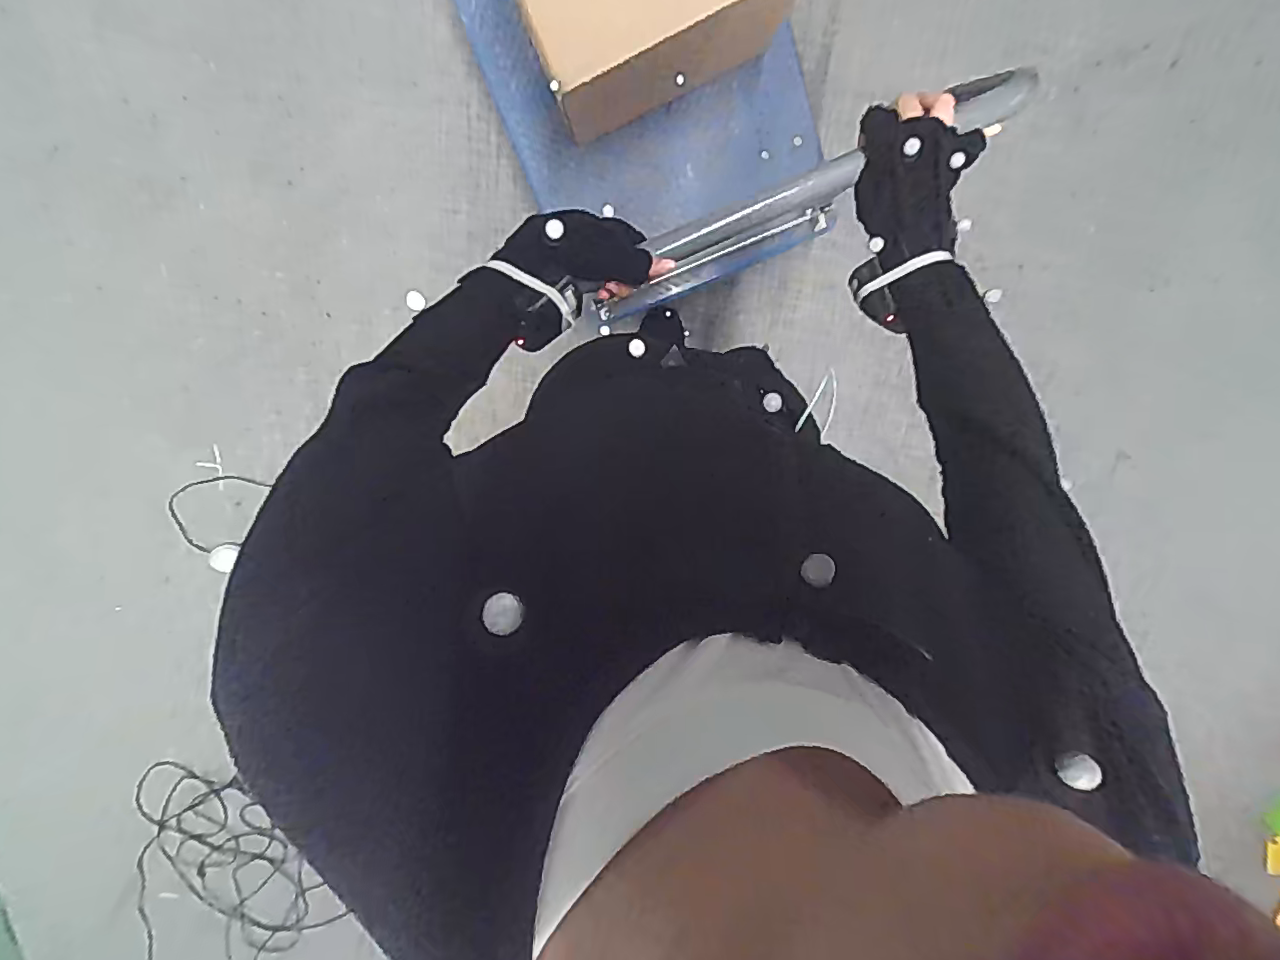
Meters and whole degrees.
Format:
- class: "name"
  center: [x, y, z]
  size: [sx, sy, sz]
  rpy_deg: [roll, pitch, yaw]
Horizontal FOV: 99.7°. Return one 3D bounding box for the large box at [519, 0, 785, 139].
- class: "large box"
  center: [0.001, -0.839, 0.875]
  size: [0.408, 0.320, 0.320]
  rpy_deg: [-24, 107, 7]
